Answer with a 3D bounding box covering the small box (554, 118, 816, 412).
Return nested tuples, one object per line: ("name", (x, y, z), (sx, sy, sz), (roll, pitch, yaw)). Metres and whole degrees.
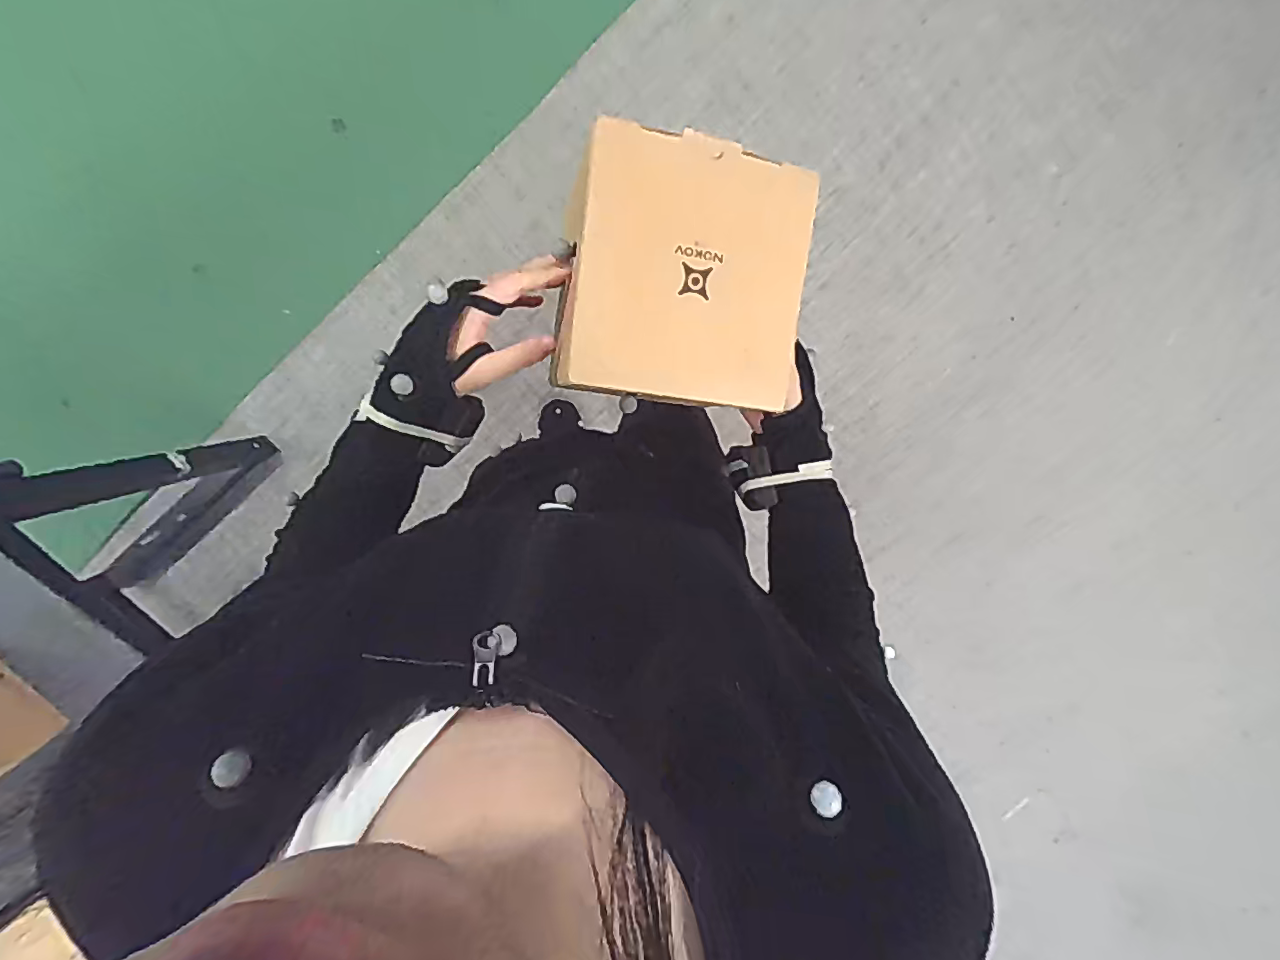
("small box", (0.021, -0.156, 0.460), (0.168, 0.176, 0.179), (6, 96, -14))
